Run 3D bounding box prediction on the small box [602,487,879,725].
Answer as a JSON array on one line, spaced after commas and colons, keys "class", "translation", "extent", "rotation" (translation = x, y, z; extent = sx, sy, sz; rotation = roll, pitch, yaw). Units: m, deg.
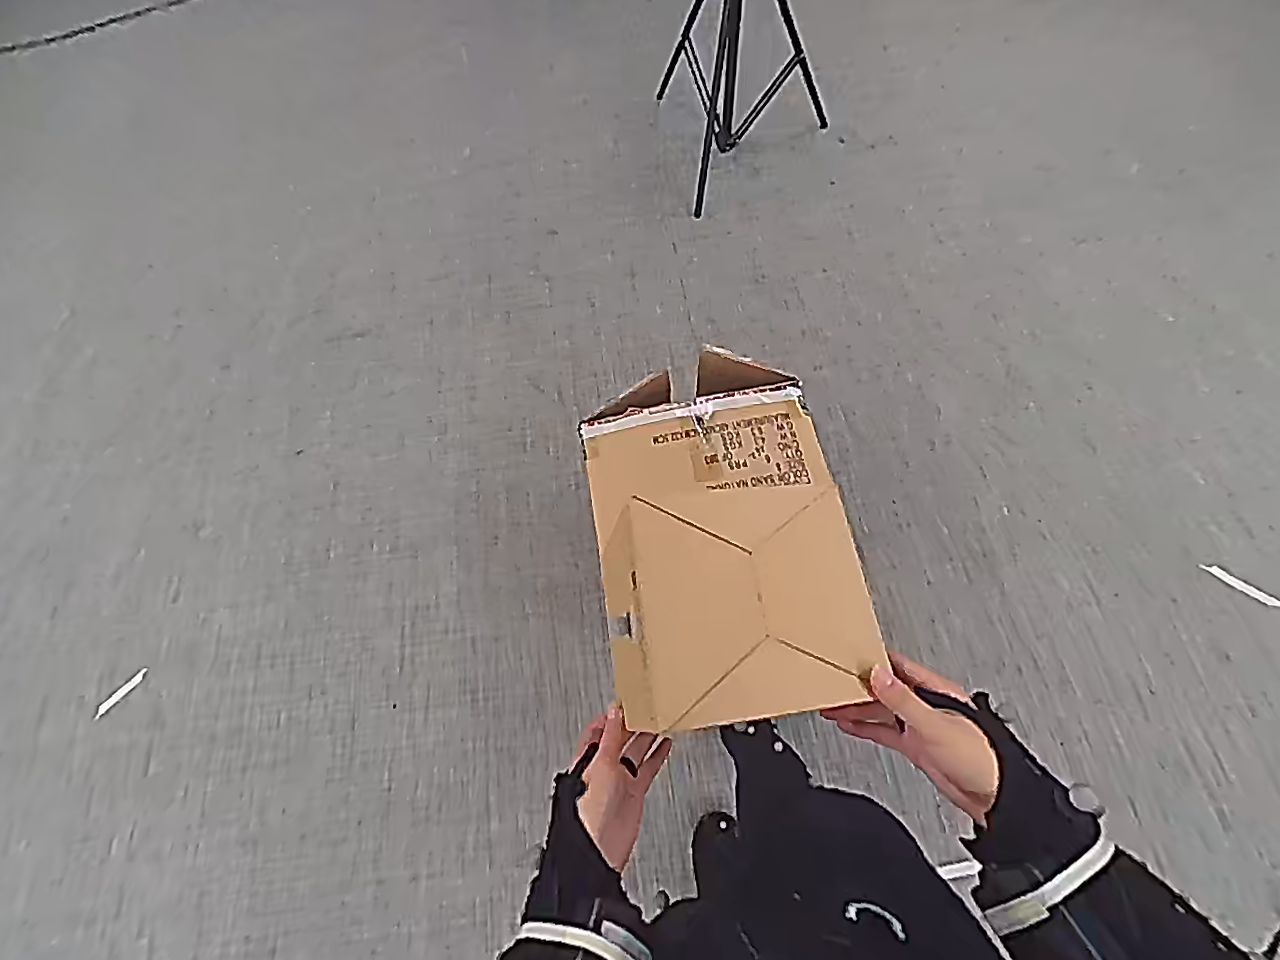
[{"class": "small box", "translation": [0.071, 0.113, 0.471], "extent": [0.179, 0.176, 0.168], "rotation": [-3, 67, -13]}]
